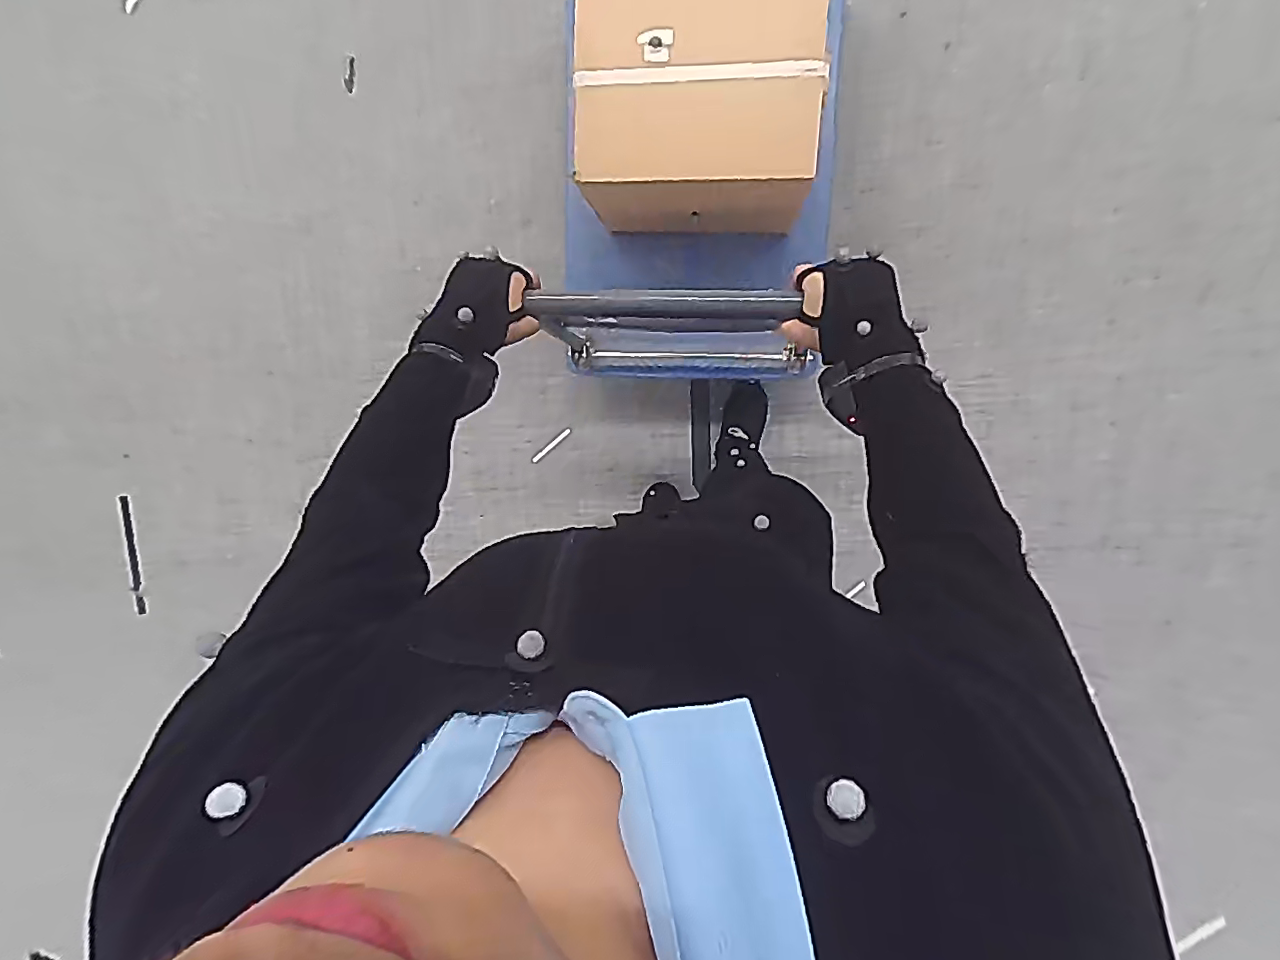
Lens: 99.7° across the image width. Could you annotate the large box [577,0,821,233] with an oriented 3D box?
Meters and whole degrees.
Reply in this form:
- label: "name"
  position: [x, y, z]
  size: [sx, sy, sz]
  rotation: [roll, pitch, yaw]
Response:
- label: "large box"
  position: [0.113, -0.681, 1.040]
  size: [0.408, 0.320, 0.320]
  rotation: [3, 98, 8]
